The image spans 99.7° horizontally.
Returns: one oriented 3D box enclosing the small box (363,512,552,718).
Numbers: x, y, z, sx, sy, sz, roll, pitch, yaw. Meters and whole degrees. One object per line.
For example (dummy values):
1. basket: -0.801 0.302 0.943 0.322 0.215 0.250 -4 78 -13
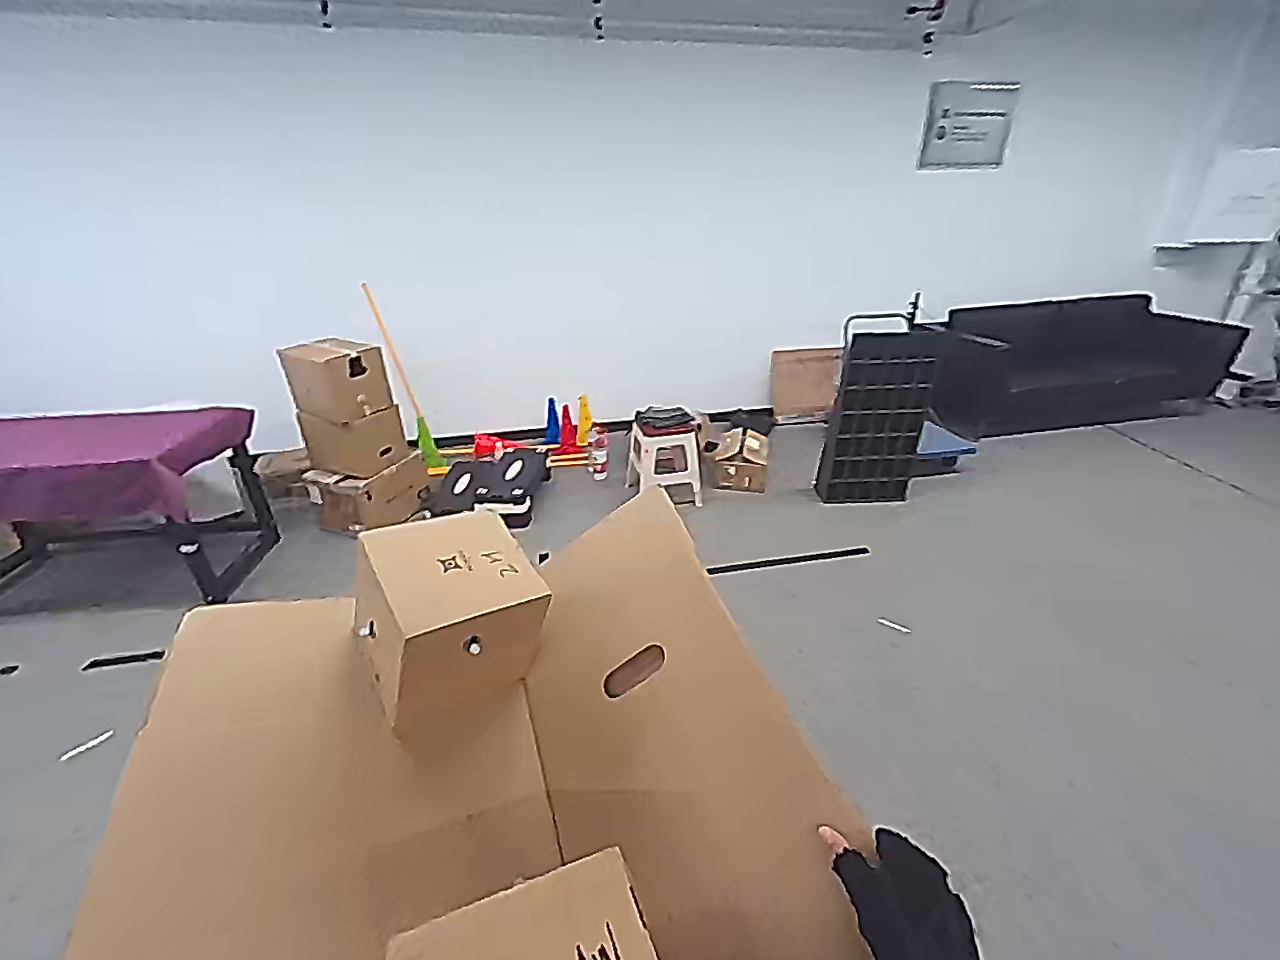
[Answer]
1. small box: -0.240 0.166 0.688 0.179 0.176 0.168 -8 43 -40
